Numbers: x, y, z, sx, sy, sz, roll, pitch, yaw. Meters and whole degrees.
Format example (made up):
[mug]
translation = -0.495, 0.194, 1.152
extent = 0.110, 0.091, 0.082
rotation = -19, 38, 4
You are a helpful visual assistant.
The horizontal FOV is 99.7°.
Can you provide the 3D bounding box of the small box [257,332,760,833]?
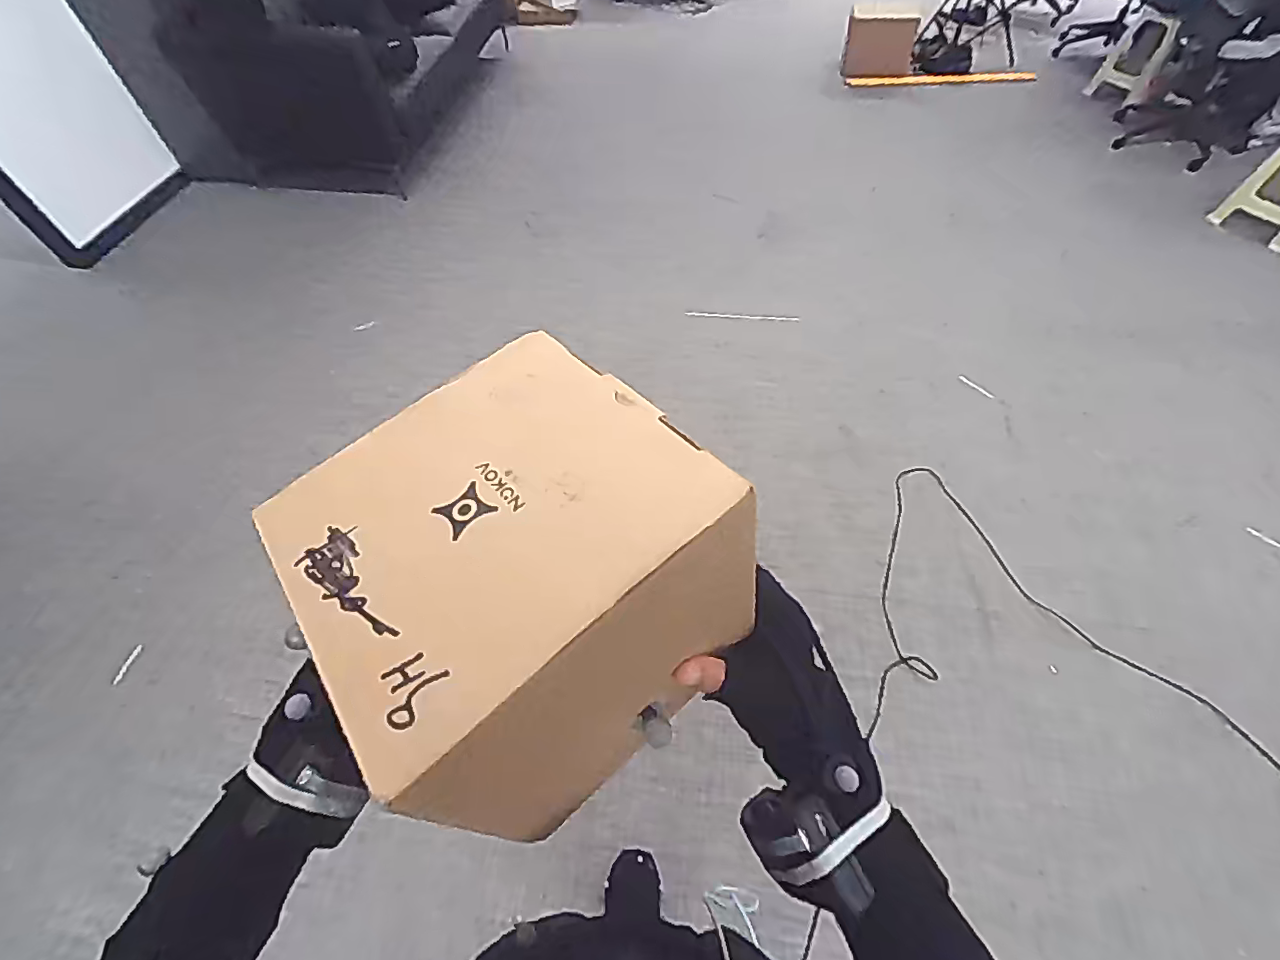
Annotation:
[small box]
translation = -0.055, 0.056, 0.302
extent = 0.179, 0.176, 0.168
rotation = -37, 54, -18
